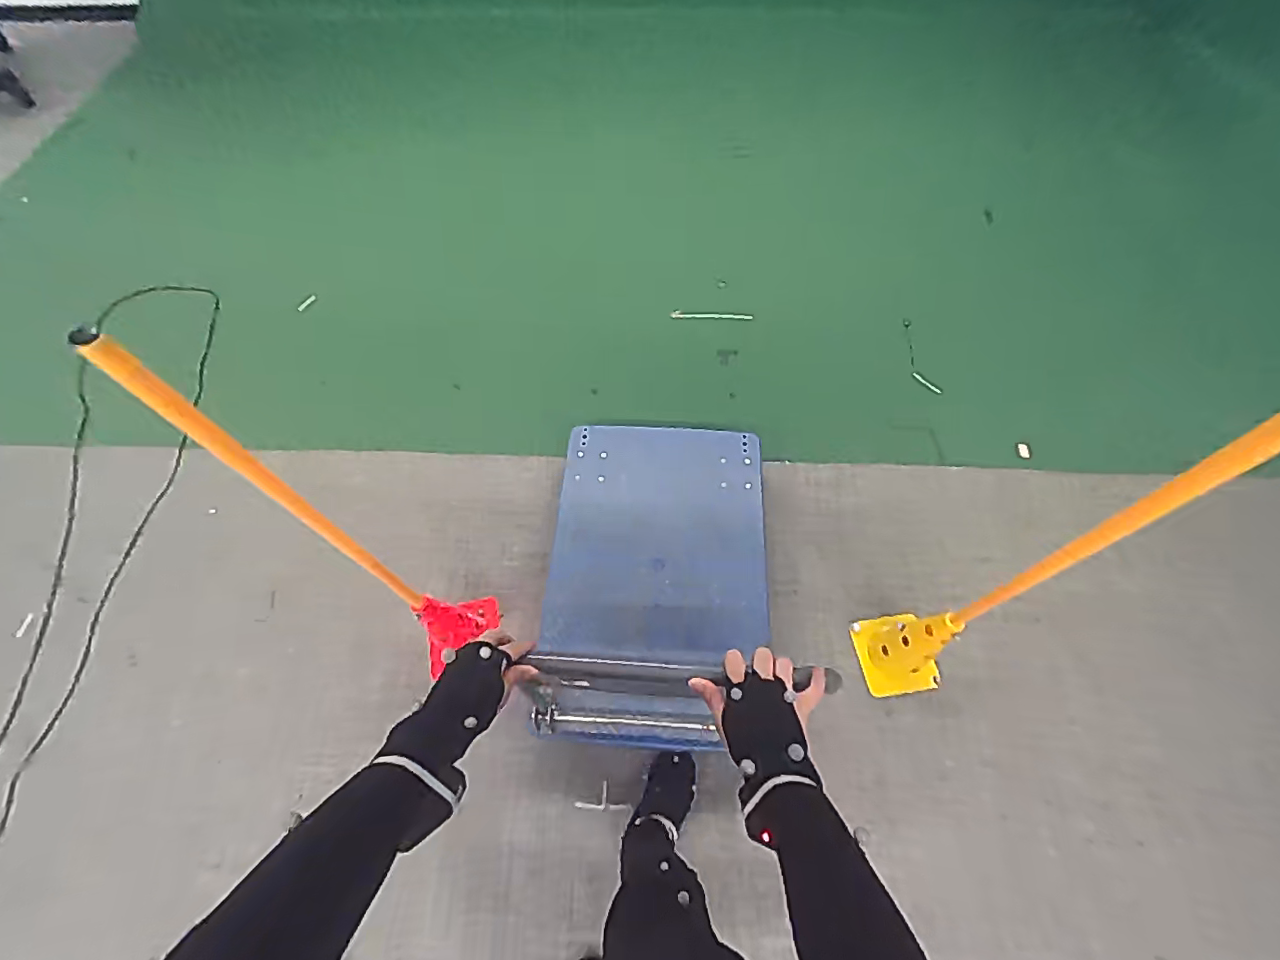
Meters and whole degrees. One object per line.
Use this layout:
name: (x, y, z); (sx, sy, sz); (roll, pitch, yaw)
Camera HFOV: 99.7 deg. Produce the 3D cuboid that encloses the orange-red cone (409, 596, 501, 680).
orange-red cone: (-0.497, 0.364, 1.365); (0.199, 0.360, 0.198); (-12, 61, -3)
